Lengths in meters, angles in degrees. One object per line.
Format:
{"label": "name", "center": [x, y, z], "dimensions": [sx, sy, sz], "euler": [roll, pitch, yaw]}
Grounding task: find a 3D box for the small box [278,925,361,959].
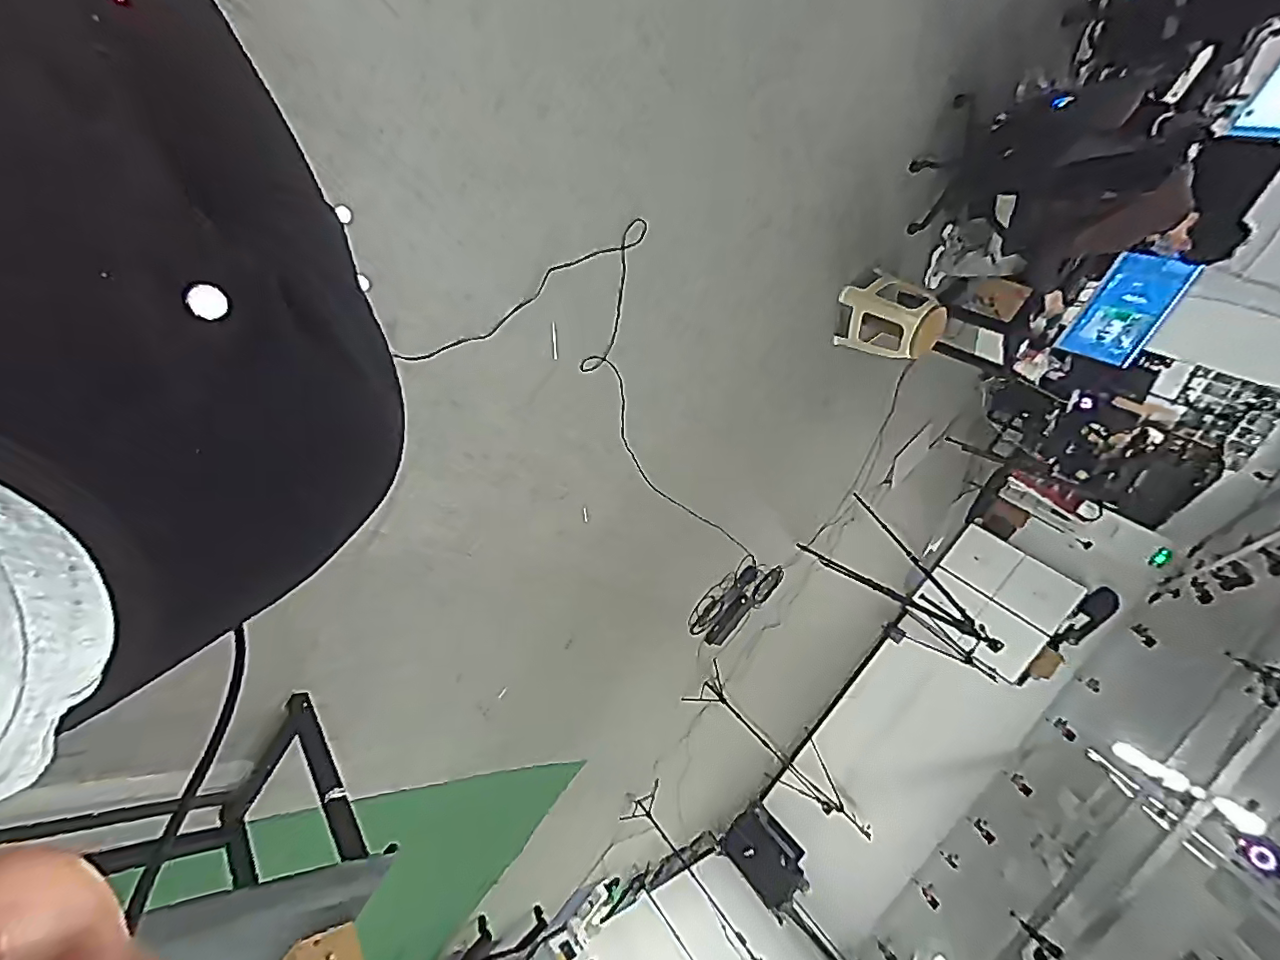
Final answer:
{"label": "small box", "center": [-0.896, 1.371, 1.478], "dimensions": [0.168, 0.176, 0.179], "euler": [23, 101, -54]}
